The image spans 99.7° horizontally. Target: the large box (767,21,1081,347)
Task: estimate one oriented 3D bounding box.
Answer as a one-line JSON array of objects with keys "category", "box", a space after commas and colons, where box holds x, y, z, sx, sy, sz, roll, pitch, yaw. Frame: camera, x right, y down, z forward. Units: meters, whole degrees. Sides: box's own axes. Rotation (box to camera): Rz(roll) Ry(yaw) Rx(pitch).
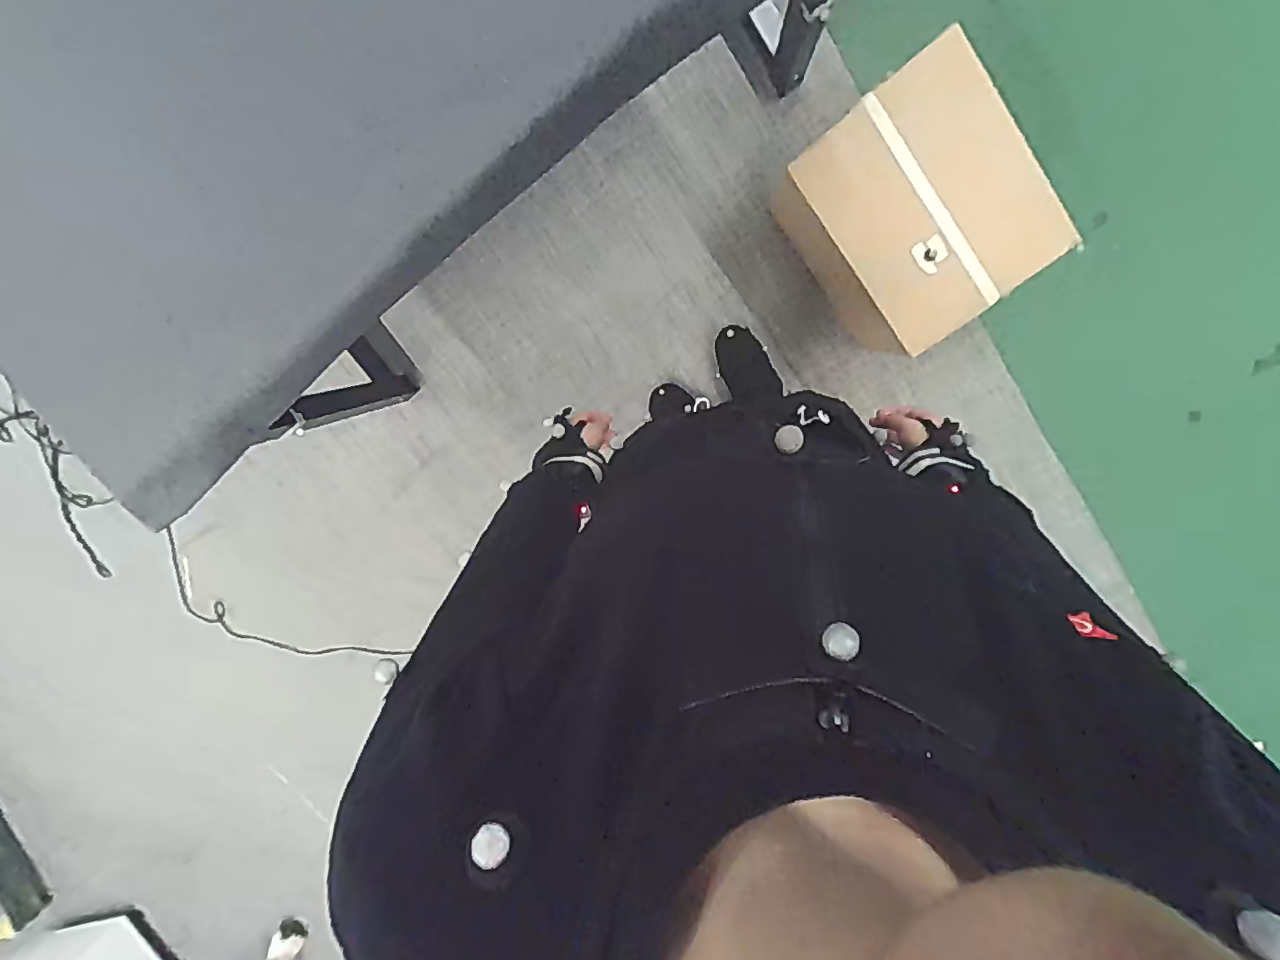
[{"category": "large box", "box": [0.501, -0.515, 1.038, 0.320, 0.320, 0.408, -37, 100, 16]}]
